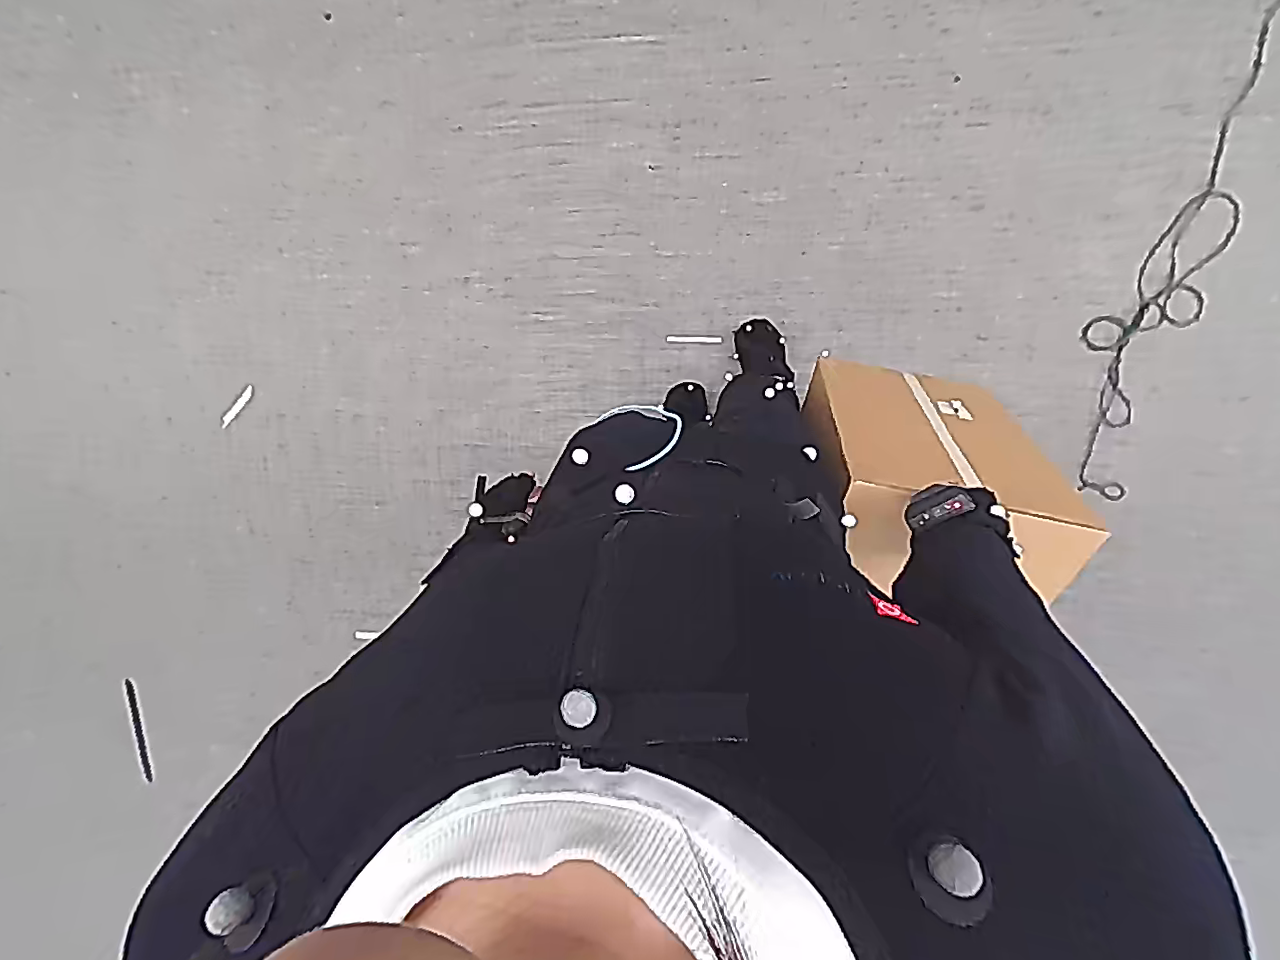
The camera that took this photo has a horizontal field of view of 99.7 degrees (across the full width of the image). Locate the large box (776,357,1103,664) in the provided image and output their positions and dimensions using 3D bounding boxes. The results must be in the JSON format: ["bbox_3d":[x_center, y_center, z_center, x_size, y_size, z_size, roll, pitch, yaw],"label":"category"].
[{"bbox_3d":[0.428,0.033,0.910,0.320,0.408,0.320,12,125,2],"label":"large box"}]
